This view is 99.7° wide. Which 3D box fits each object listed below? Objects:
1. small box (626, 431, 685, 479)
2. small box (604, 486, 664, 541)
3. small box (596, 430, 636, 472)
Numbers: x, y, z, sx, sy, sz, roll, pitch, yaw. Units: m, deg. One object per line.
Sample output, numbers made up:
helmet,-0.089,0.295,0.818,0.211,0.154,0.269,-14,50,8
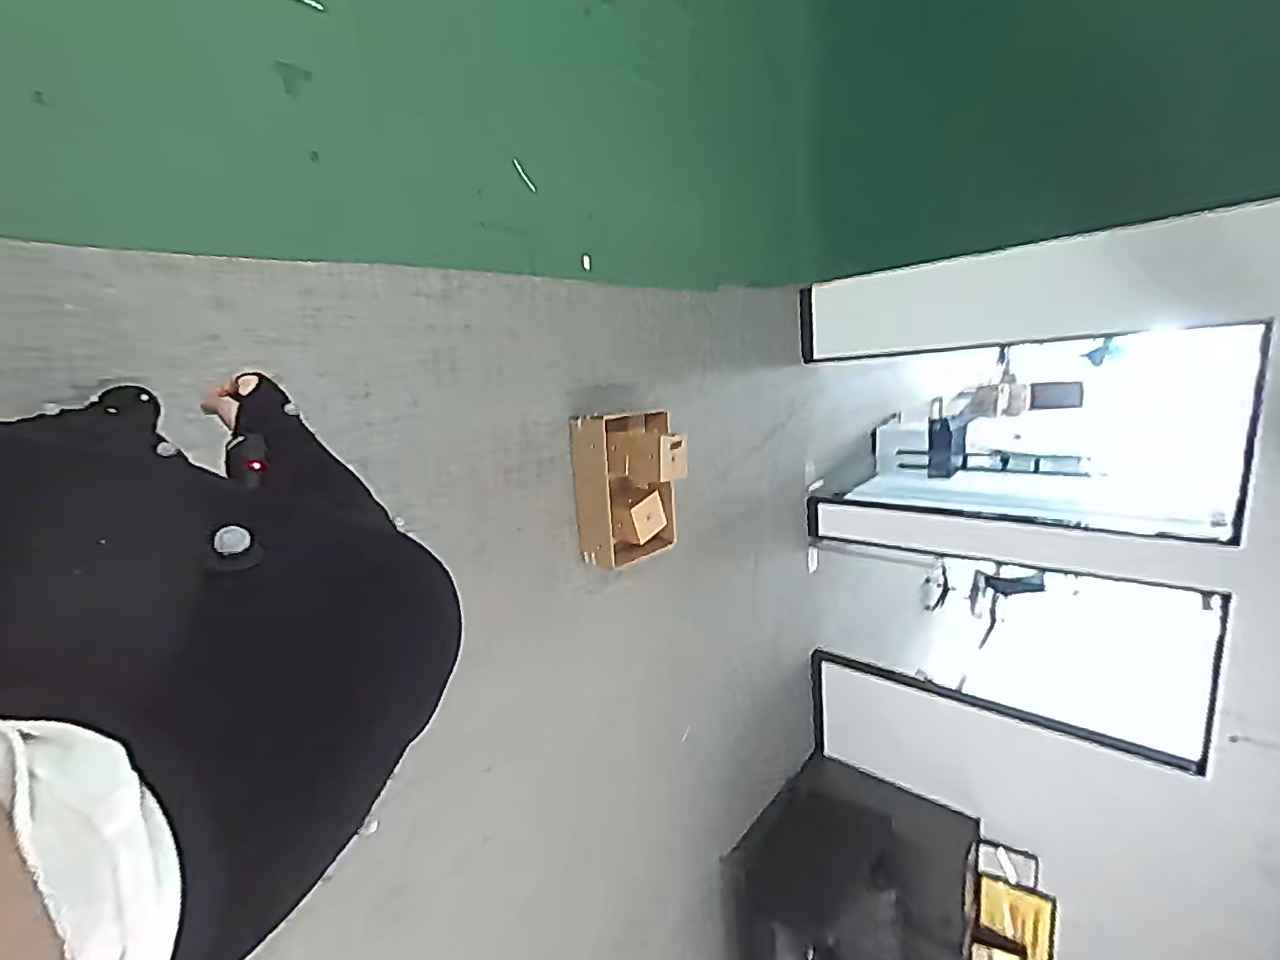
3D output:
small box,0.059,-0.102,2.105,0.168,0.176,0.179,-10,103,-47
small box,-0.031,0.137,2.276,0.179,0.176,0.168,-35,119,-40
small box,-0.062,-0.116,2.215,0.179,0.176,0.168,0,95,-49
